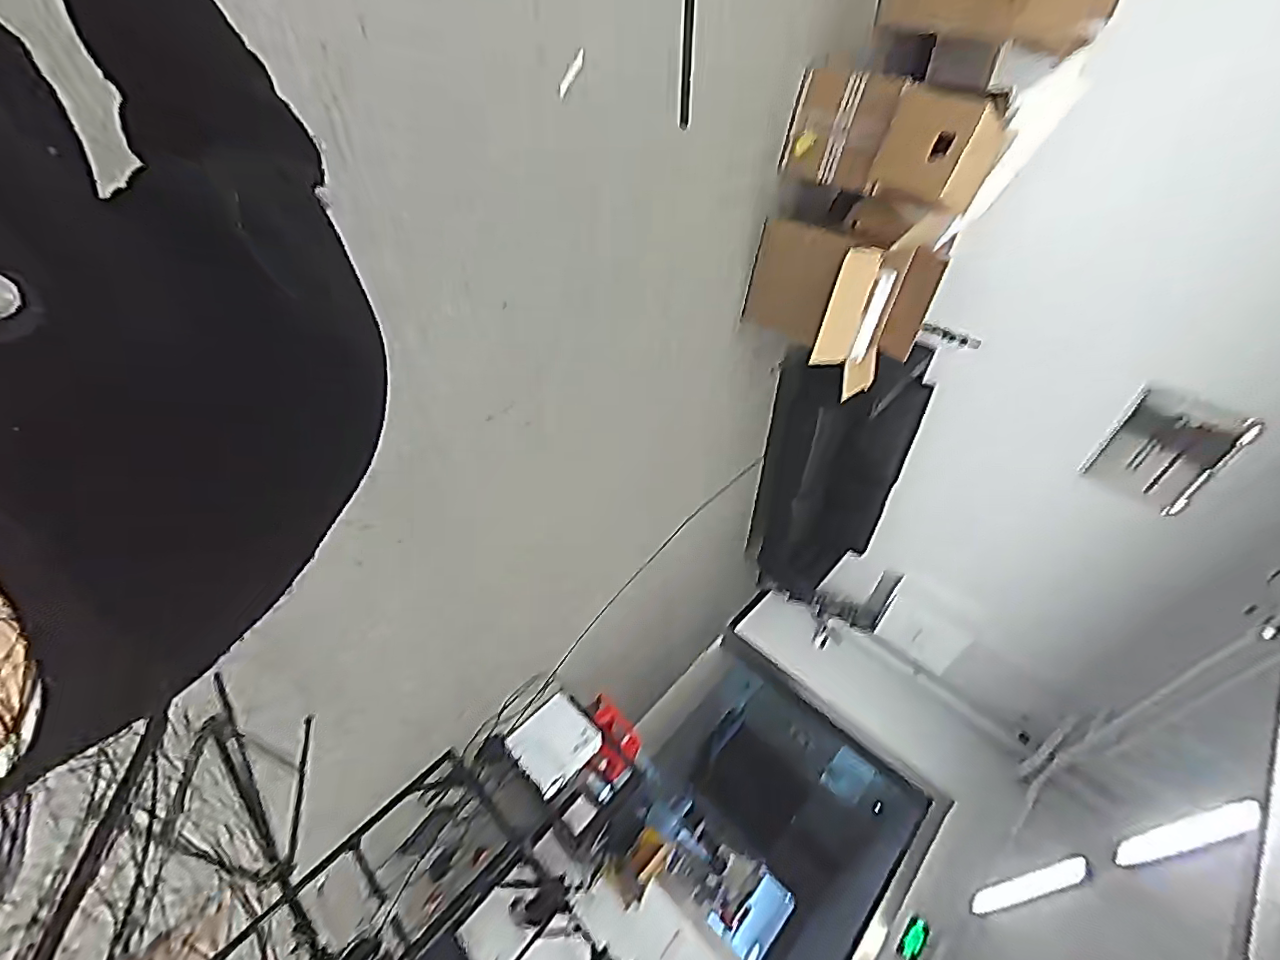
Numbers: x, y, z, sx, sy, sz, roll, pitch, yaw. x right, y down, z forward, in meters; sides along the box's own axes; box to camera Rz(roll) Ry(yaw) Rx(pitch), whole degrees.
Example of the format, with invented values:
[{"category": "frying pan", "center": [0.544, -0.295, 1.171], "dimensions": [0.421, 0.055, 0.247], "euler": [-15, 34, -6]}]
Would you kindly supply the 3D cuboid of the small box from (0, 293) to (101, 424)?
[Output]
[{"category": "small box", "center": [-0.931, -0.142, 0.757], "dimensions": [0.179, 0.176, 0.168], "euler": [-36, 143, -29]}]
